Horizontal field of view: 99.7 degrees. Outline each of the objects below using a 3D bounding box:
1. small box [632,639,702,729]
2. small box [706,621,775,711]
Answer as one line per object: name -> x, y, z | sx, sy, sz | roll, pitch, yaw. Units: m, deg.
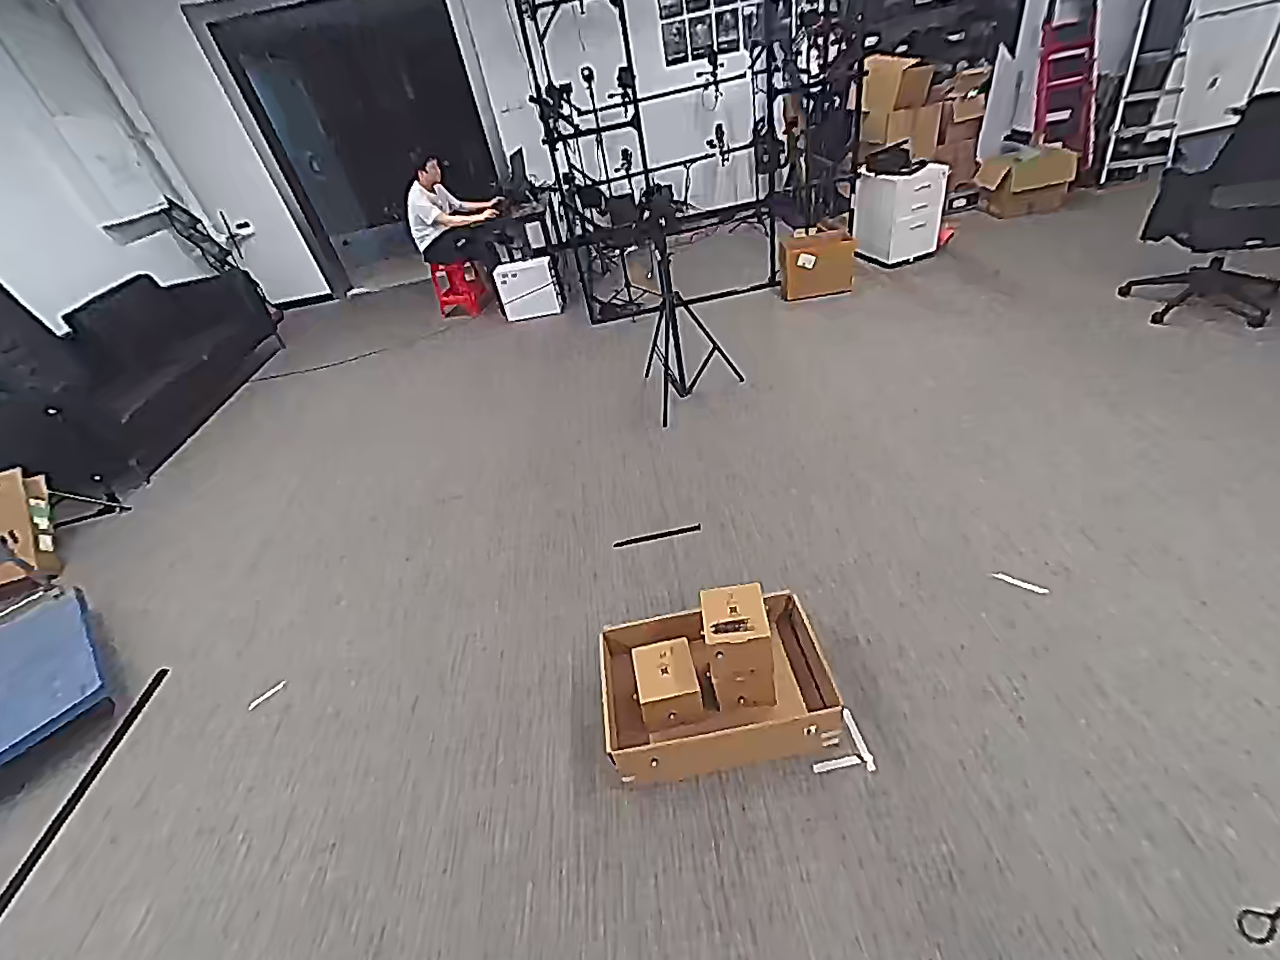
small box -> 0.078, 0.589, 1.546 | 0.168, 0.176, 0.179 | -11, 37, -2
small box -> 0.288, 0.537, 1.560 | 0.168, 0.176, 0.179 | -11, 38, 6
